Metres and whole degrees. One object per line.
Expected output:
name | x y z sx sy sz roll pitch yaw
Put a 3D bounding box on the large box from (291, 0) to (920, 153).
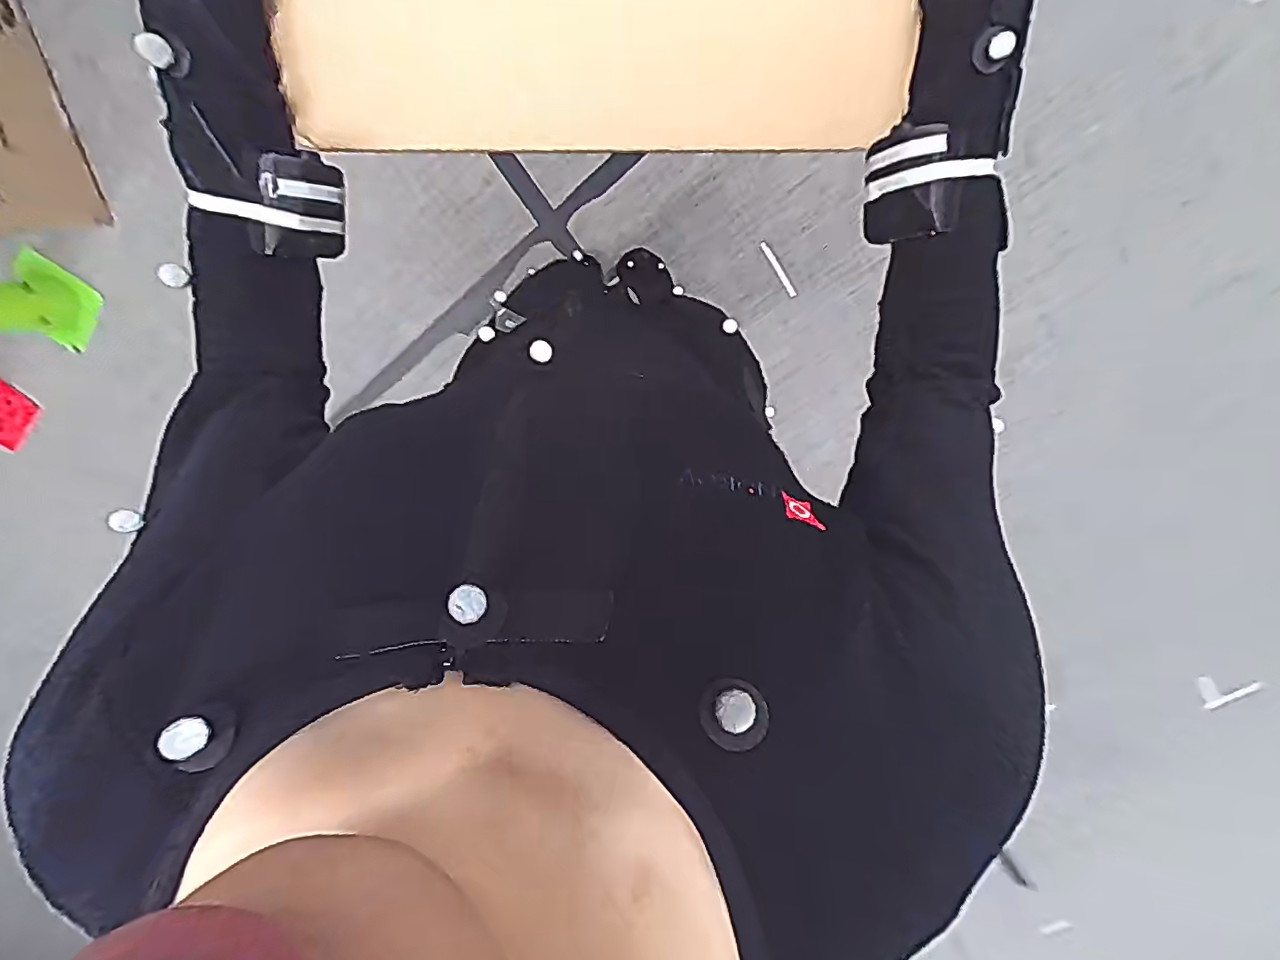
large box | -0.024 -0.444 0.426 0.408 0.320 0.320 0 122 -1
